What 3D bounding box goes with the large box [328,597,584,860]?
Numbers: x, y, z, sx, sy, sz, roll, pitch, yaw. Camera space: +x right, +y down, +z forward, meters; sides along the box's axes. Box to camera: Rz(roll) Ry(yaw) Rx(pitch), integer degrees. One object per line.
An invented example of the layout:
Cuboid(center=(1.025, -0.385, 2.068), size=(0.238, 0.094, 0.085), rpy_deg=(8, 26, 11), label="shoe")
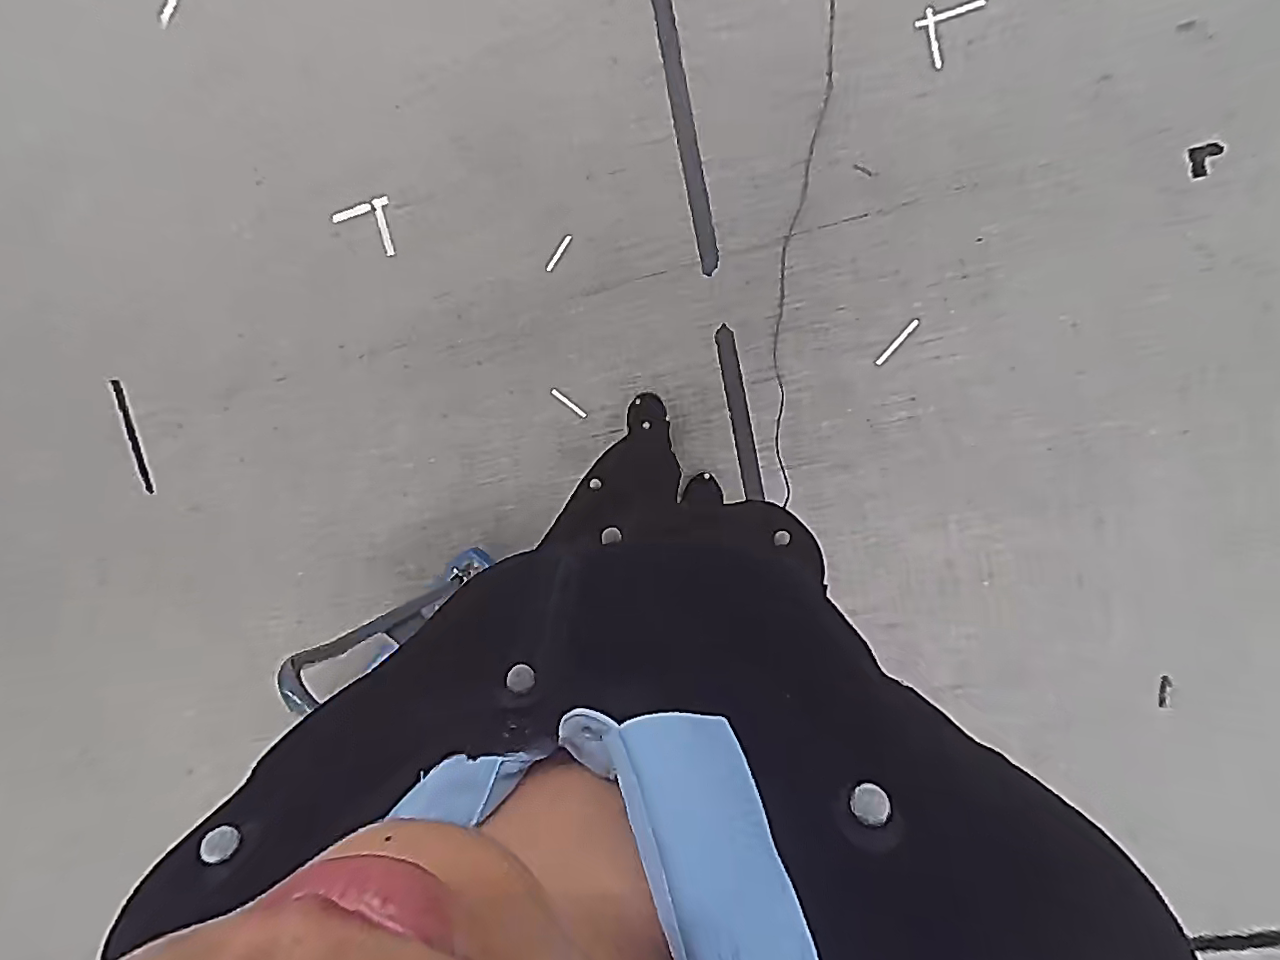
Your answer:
Cuboid(center=(-0.404, 0.553, 1.271), size=(0.408, 0.320, 0.320), rpy_deg=(41, 99, 3), label="large box")
